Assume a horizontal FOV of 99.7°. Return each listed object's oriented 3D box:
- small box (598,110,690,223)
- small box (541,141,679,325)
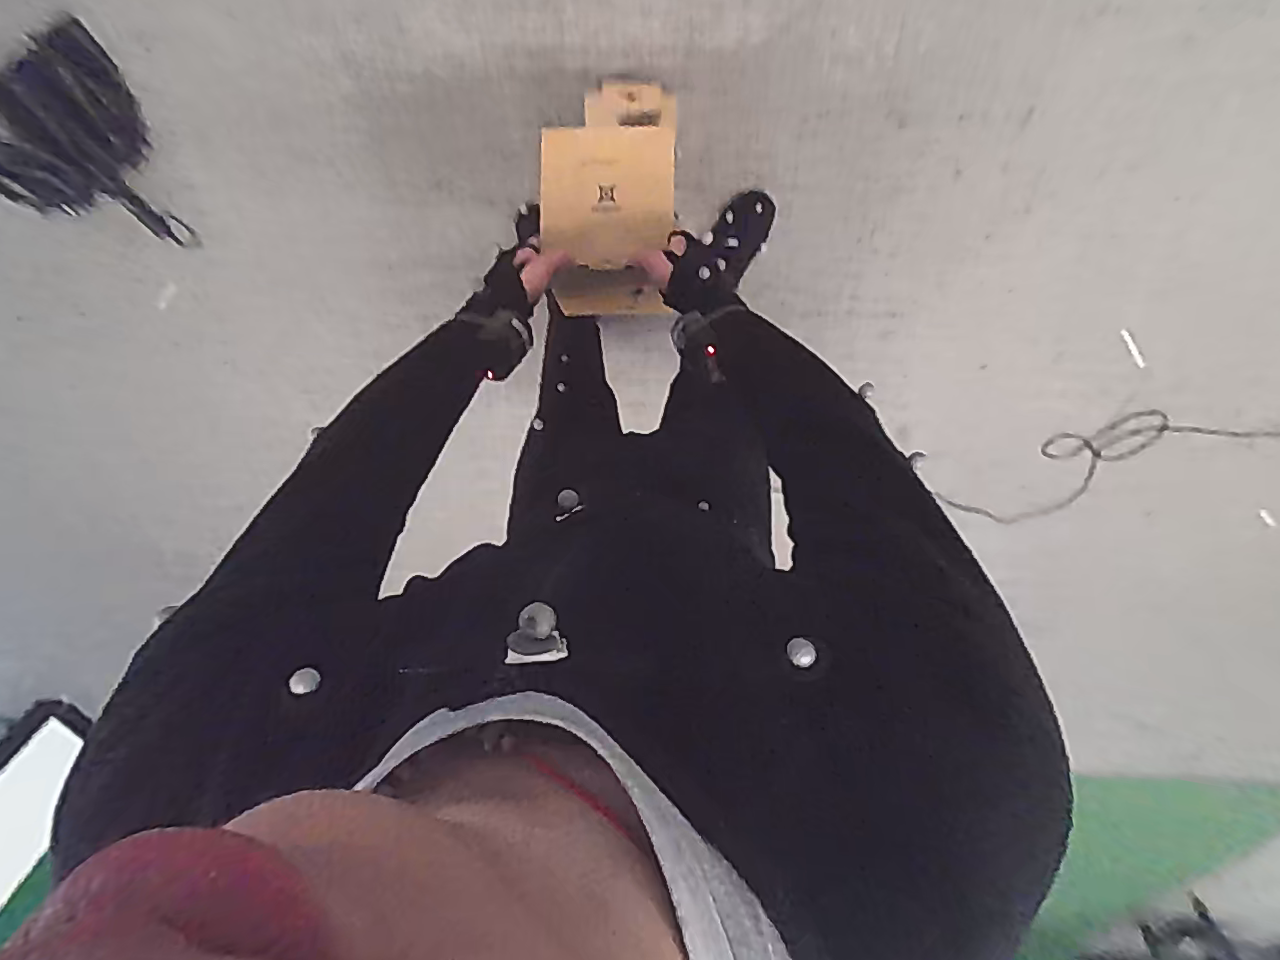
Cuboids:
[{"bbox_3d":[0.008,-0.623,1.069,0.168,0.176,0.179,3,127,3],"label":"small box"},{"bbox_3d":[-0.031,-0.318,0.732,0.168,0.176,0.179,0,85,4],"label":"small box"}]
